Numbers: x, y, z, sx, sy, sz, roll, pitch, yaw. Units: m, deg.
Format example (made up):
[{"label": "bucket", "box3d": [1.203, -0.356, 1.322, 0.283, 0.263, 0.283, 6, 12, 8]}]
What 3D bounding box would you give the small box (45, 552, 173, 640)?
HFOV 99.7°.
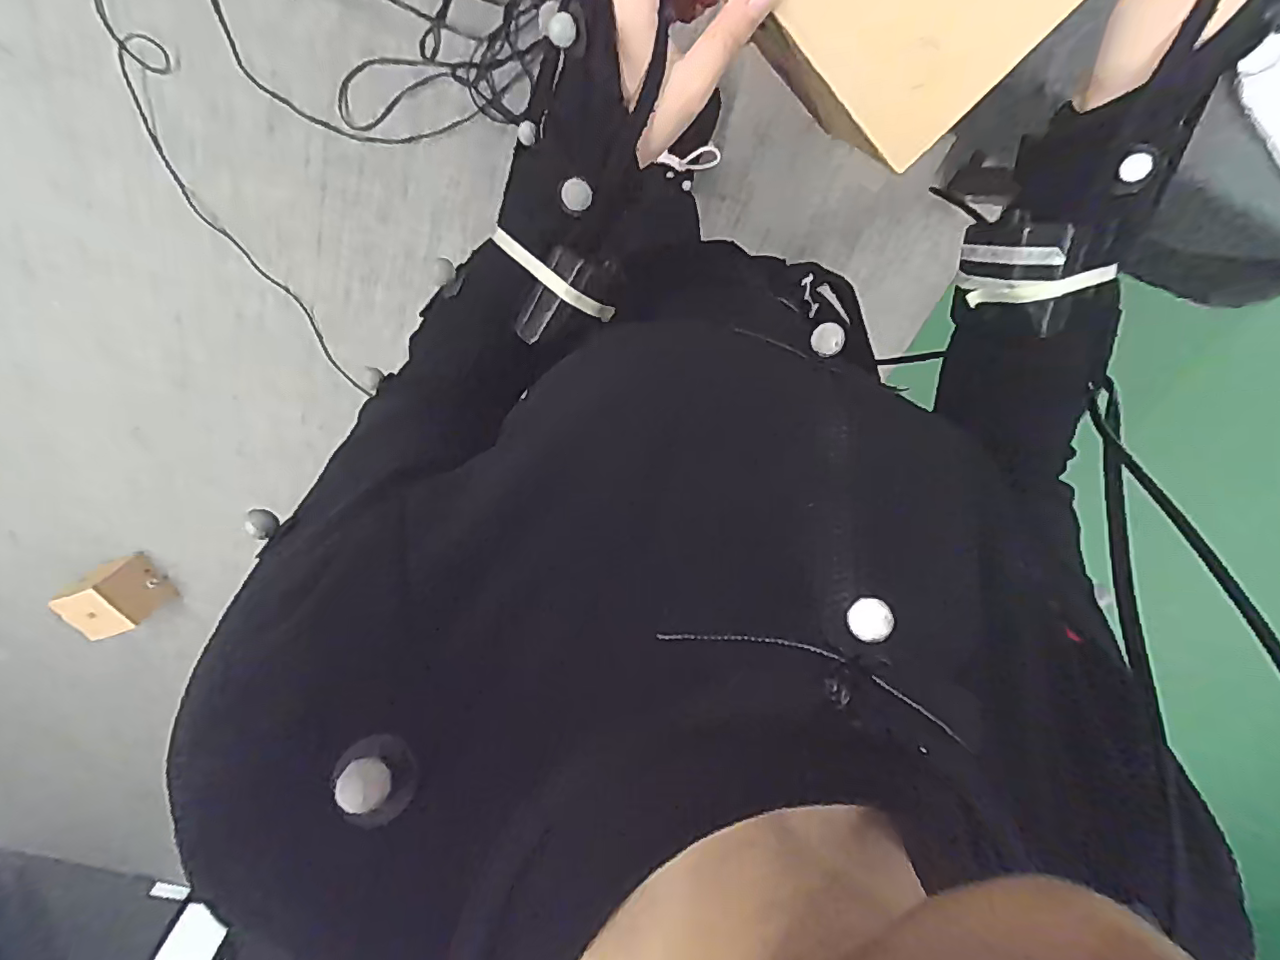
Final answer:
[{"label": "small box", "box3d": [-1.574, 0.344, 1.617, 0.179, 0.176, 0.168, -18, 120, 11]}]
